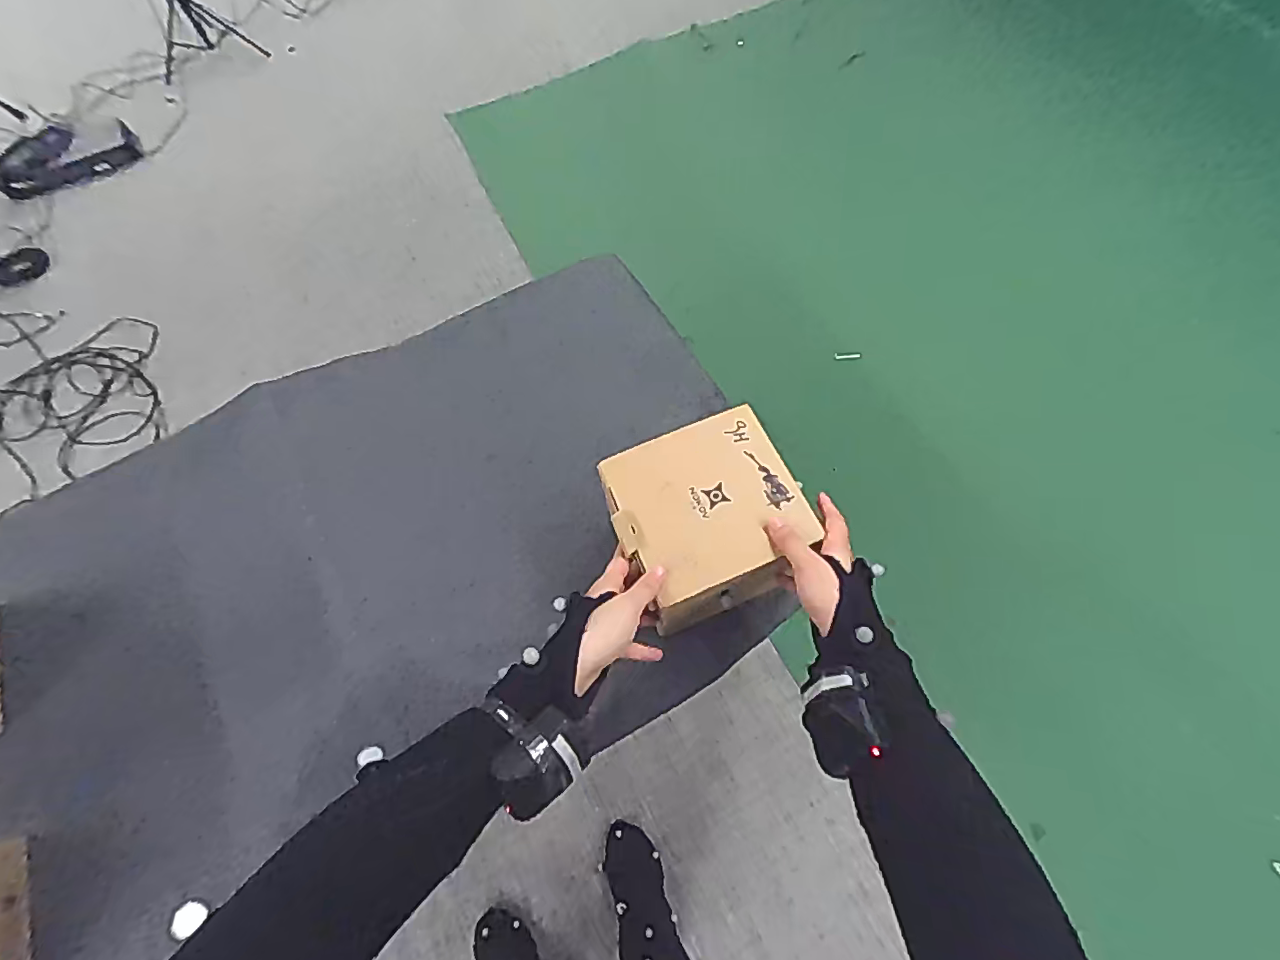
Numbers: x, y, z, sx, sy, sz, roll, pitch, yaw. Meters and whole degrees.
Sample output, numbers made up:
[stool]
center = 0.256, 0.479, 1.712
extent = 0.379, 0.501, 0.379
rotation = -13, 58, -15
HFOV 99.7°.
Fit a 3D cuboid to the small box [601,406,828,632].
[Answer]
[small box]
center = 0.074, 0.053, 0.599
extent = 0.179, 0.176, 0.168
rotation = -22, 66, -6
